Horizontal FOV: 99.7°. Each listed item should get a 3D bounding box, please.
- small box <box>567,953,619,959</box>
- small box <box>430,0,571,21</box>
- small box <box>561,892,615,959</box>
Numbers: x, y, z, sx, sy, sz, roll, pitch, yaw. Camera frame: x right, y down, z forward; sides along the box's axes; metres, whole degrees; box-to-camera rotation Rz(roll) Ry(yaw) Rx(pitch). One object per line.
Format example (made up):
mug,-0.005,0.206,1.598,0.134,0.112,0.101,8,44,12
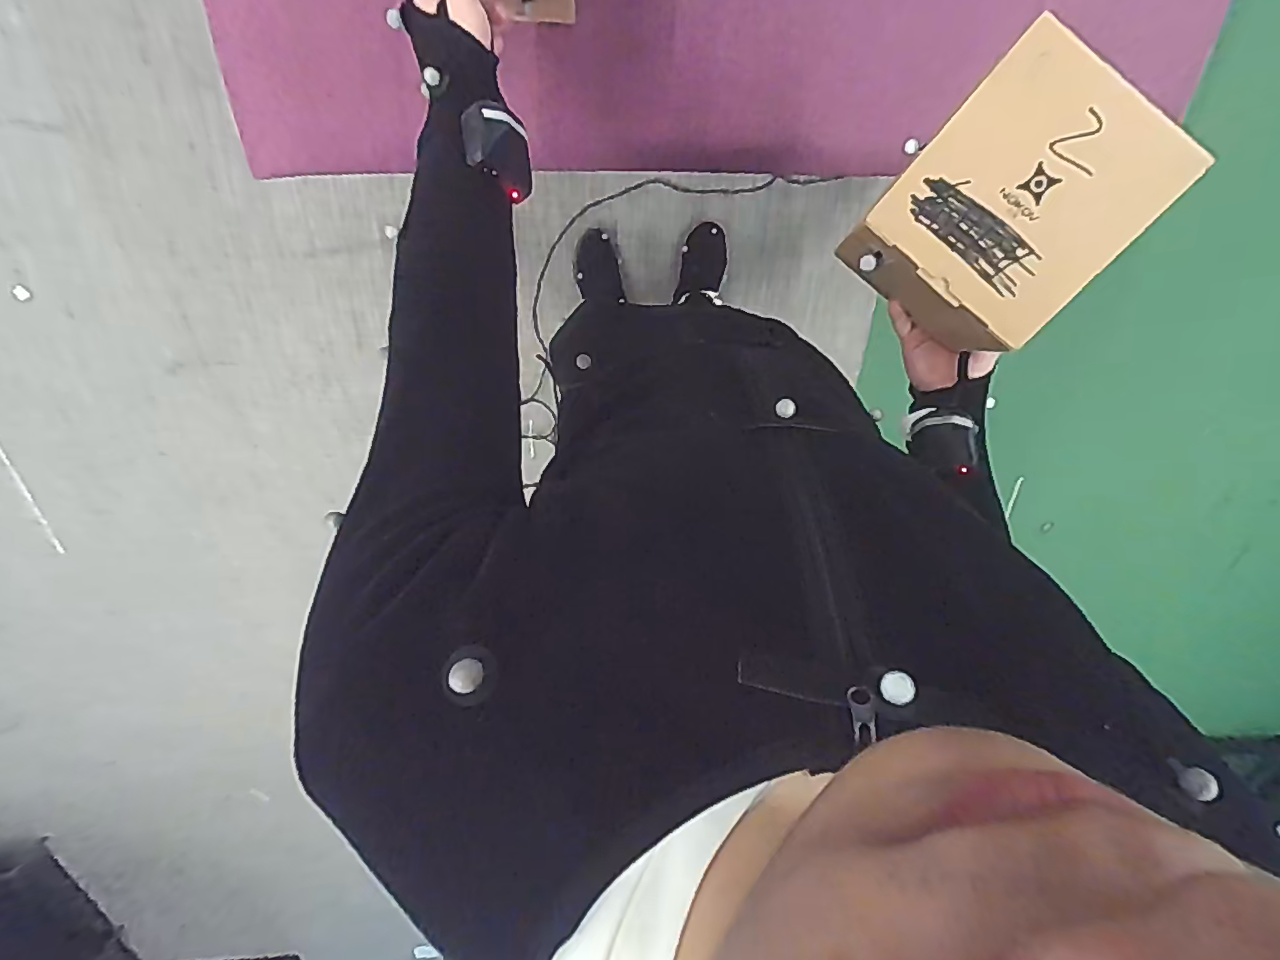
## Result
small box,-0.149,1.545,1.596,0.168,0.176,0.179,10,114,-9
small box,-0.152,-0.571,0.514,0.168,0.176,0.179,0,117,-5
small box,-0.165,1.469,1.740,0.168,0.176,0.179,1,116,-4
